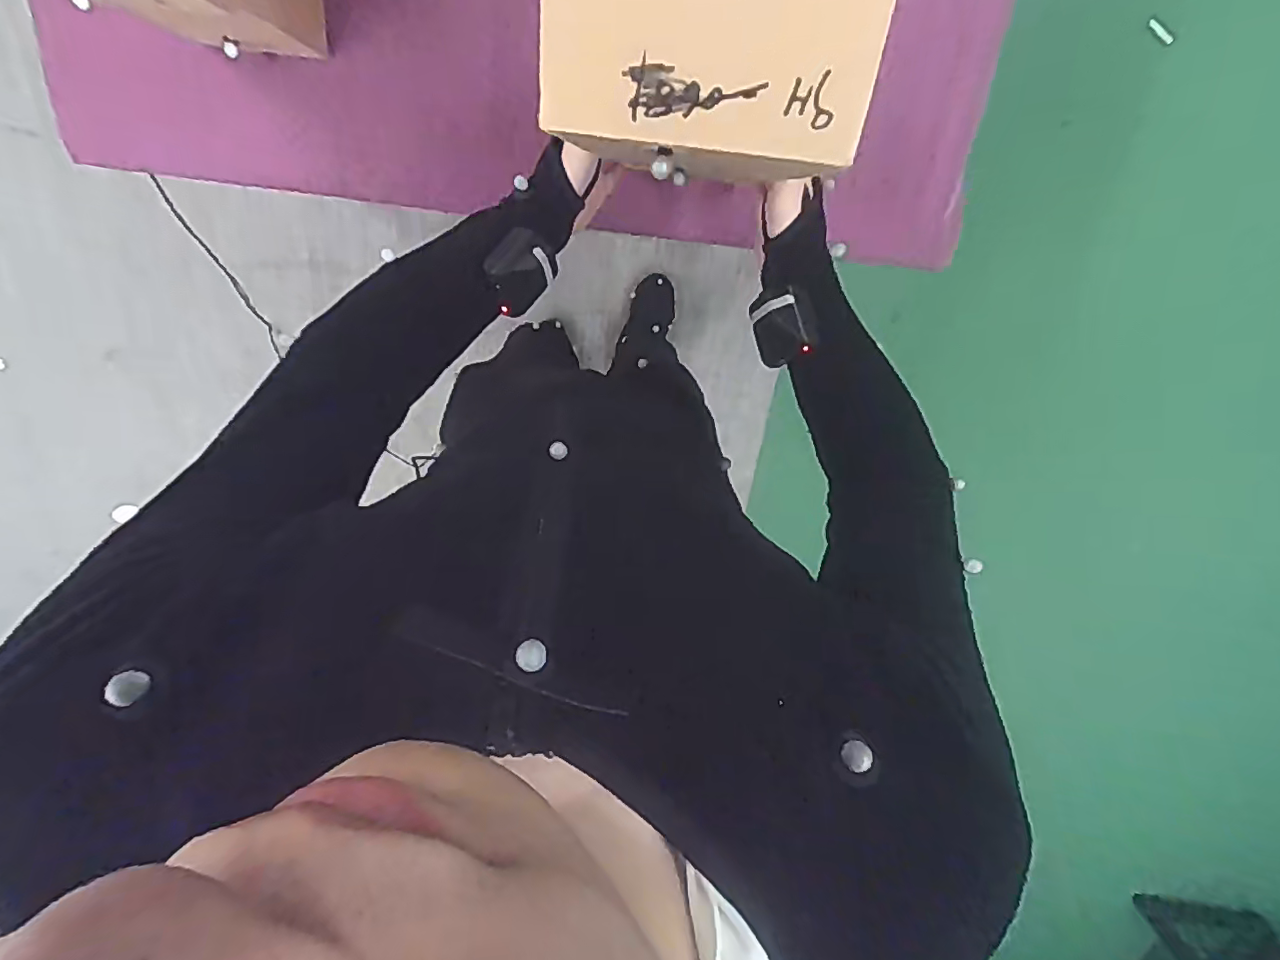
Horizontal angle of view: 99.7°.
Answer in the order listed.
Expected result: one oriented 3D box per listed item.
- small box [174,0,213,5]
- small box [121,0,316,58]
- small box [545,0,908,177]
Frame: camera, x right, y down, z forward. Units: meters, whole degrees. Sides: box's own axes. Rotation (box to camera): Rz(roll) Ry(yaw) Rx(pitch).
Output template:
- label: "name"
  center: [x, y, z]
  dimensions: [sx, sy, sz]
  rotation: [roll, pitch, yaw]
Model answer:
- label: "small box"
  center: [-0.481, -0.520, 0.424]
  dimensions: [0.168, 0.176, 0.179]
  rotation: [7, 111, -1]
- label: "small box"
  center: [-0.476, -0.590, 0.571]
  dimensions: [0.168, 0.176, 0.179]
  rotation: [6, 112, -1]
- label: "small box"
  center: [0.048, -0.282, 0.305]
  dimensions: [0.168, 0.176, 0.179]
  rotation: [8, 118, 1]
